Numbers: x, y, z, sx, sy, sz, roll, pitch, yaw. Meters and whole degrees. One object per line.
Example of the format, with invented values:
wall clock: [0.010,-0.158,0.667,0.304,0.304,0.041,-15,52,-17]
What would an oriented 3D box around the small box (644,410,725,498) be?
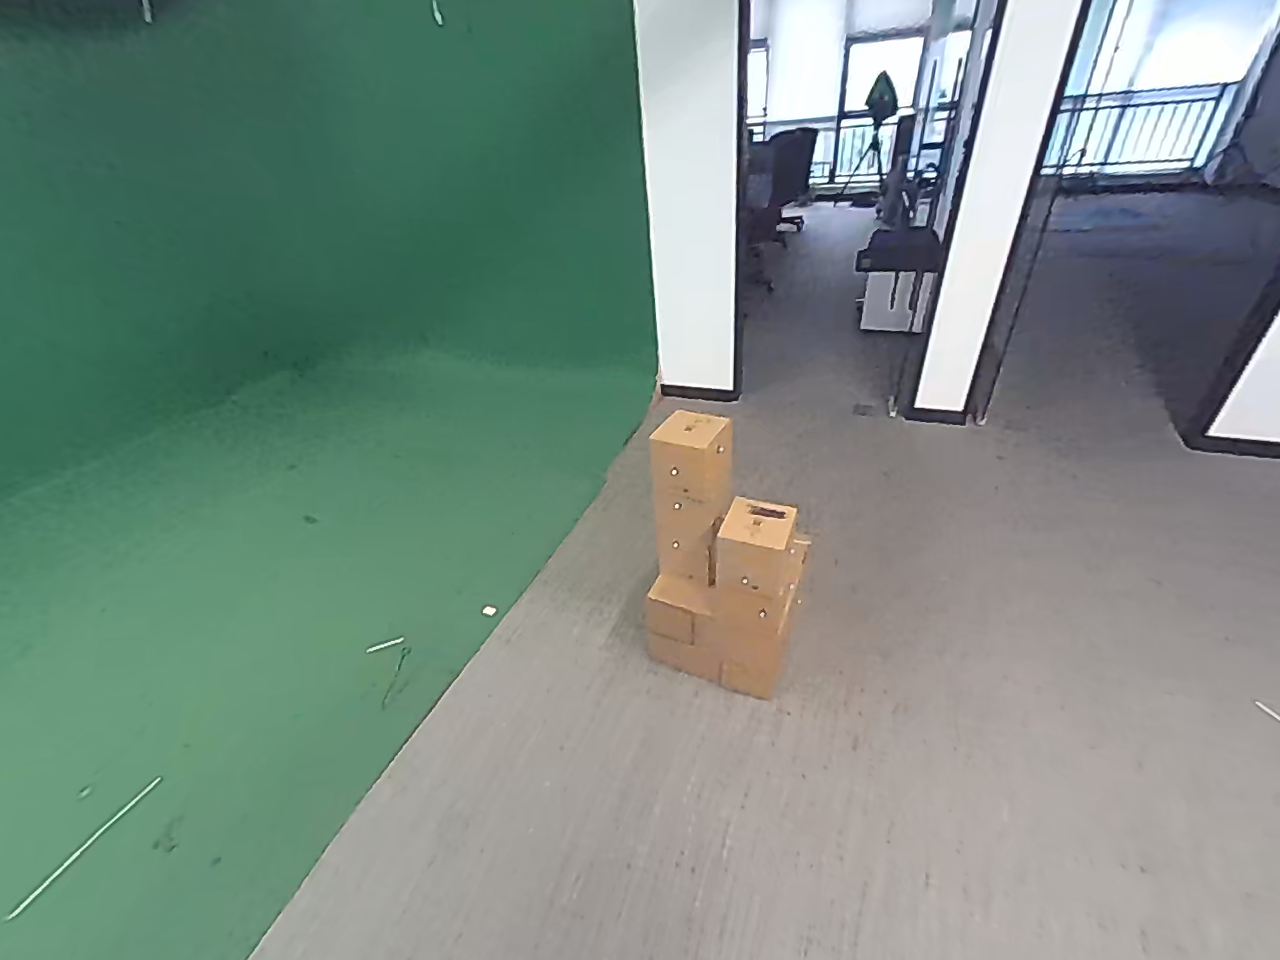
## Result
small box: [0.129,-0.072,1.494,0.168,0.176,0.179,14,39,27]

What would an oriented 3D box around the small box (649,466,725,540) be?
small box: [0.144,0.059,1.590,0.179,0.176,0.168,8,36,23]

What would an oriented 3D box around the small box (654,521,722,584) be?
small box: [0.151,0.194,1.689,0.168,0.176,0.179,10,36,23]

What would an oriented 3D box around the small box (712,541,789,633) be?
small box: [0.307,0.301,1.510,0.179,0.176,0.168,10,36,21]
